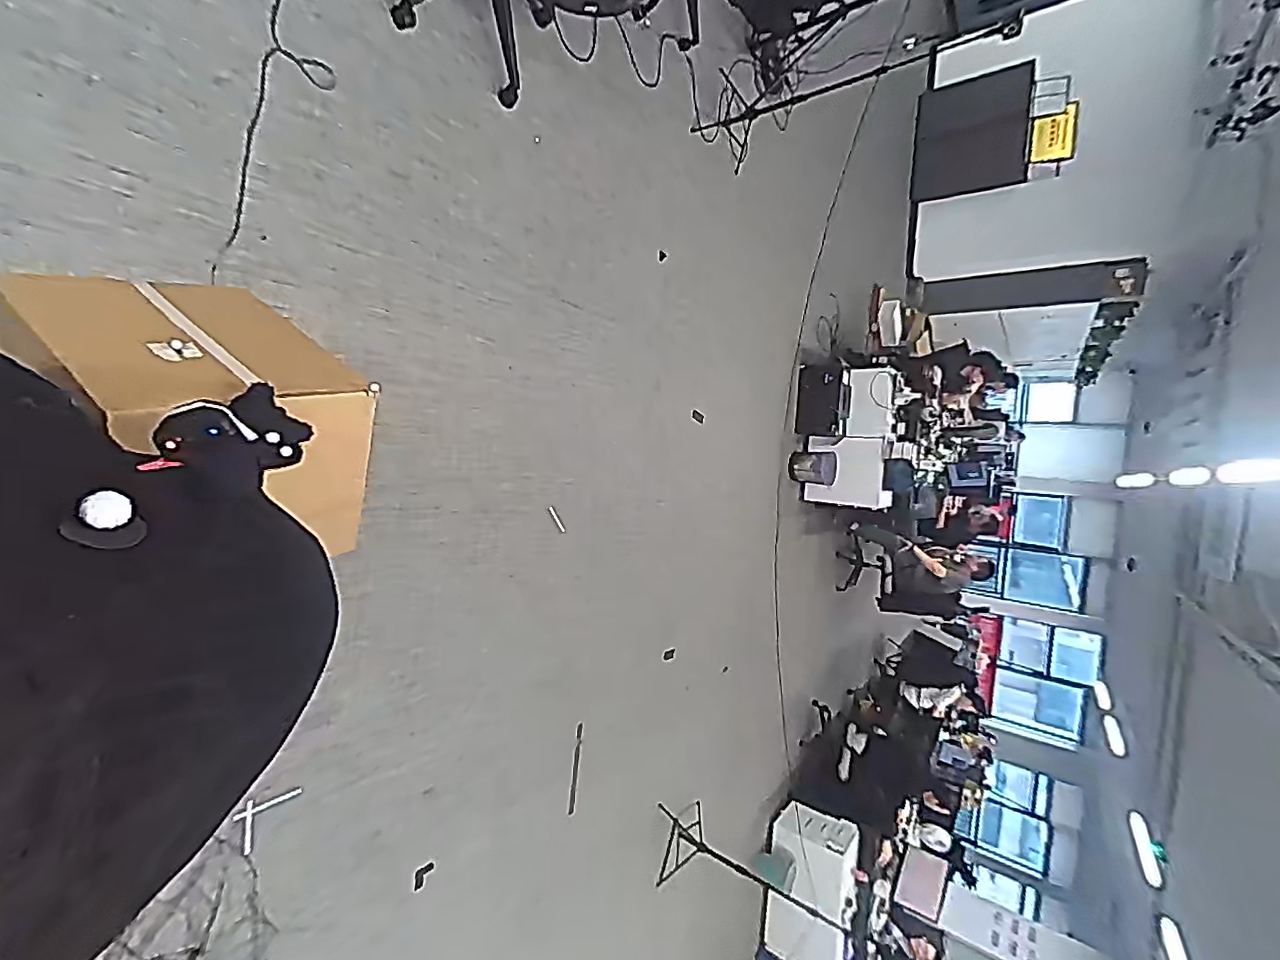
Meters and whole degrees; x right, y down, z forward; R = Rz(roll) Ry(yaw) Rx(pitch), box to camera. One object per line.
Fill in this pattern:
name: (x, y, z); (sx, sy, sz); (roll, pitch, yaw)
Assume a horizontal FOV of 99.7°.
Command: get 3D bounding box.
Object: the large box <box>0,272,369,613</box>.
large box: (-0.698, -0.077, 0.832); (0.320, 0.408, 0.320); (-22, 141, -55)
